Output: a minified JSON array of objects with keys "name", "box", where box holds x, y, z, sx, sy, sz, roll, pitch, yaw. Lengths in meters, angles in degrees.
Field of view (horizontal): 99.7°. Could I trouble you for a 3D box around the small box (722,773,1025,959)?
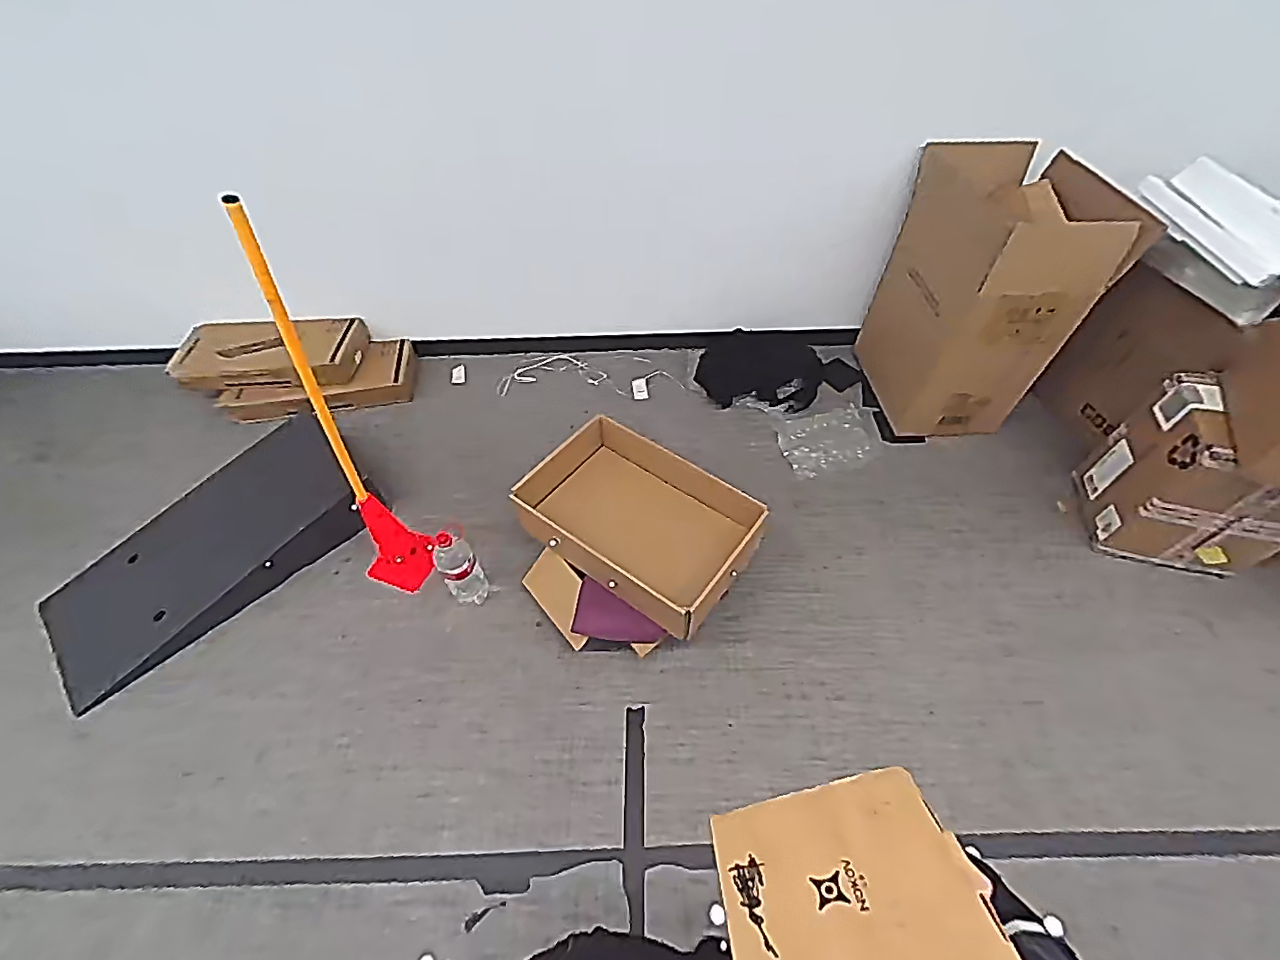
[{"name":"small box","box":[0.178,0.376,0.424,0.179,0.176,0.168,-17,17,4]}]
